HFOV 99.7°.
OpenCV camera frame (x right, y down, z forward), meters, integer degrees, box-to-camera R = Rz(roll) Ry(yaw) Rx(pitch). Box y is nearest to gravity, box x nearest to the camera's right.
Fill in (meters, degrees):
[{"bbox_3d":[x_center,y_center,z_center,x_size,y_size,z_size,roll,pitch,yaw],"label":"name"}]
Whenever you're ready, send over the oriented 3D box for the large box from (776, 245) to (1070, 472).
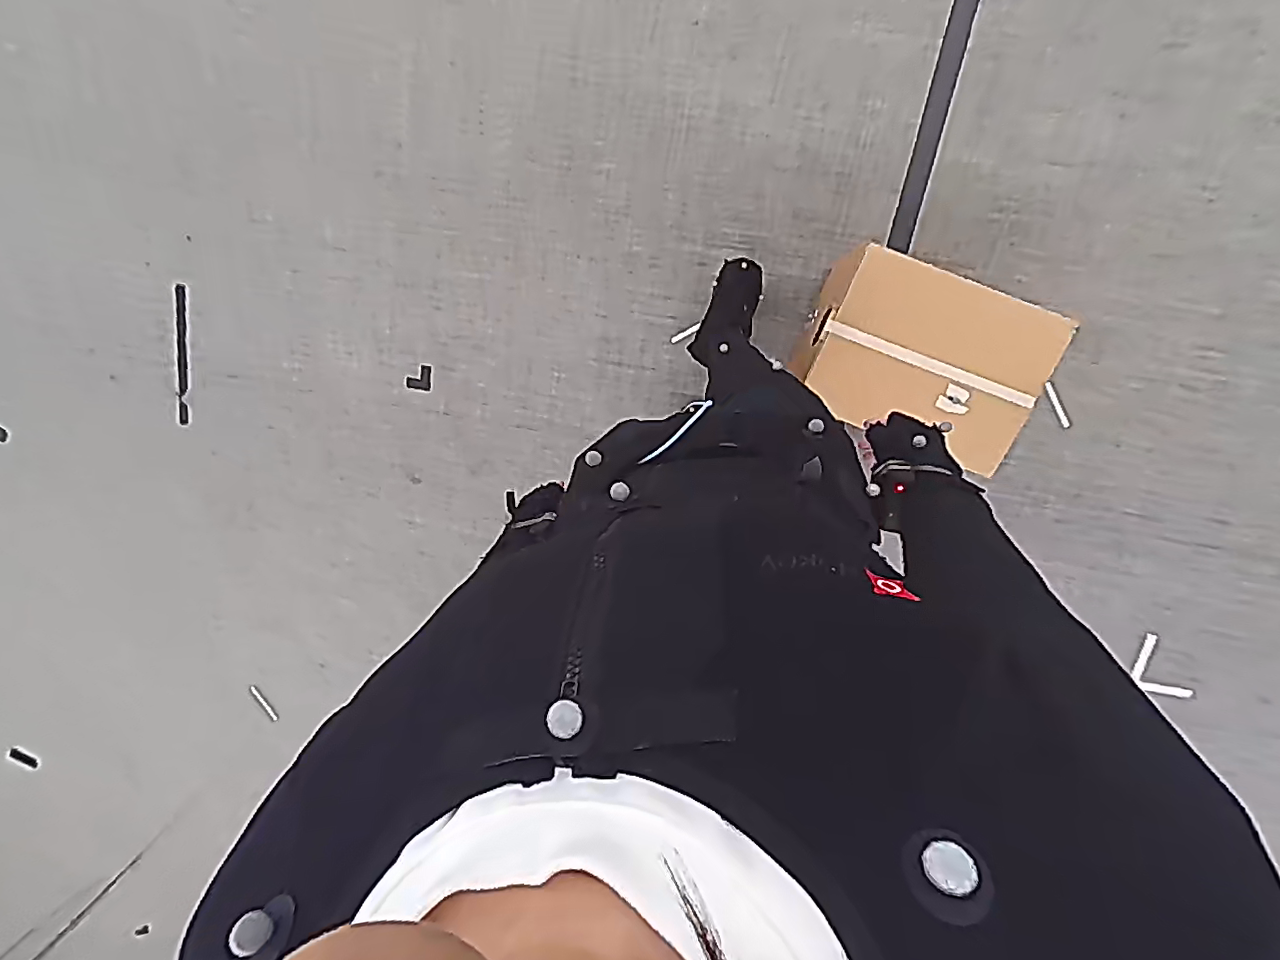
[{"bbox_3d":[0.550,-0.255,1.152,0.408,0.320,0.320,22,106,1],"label":"large box"}]
